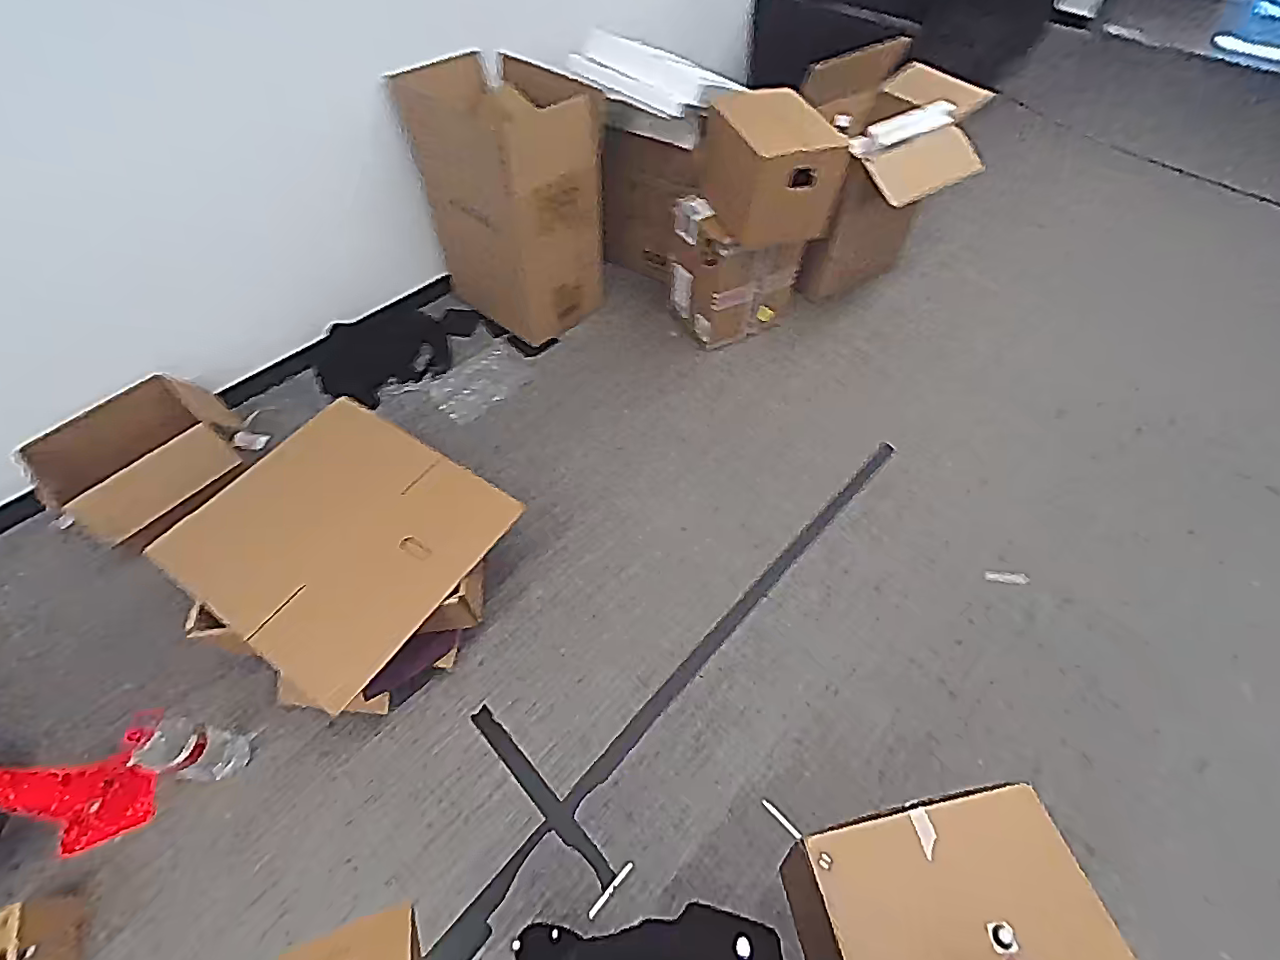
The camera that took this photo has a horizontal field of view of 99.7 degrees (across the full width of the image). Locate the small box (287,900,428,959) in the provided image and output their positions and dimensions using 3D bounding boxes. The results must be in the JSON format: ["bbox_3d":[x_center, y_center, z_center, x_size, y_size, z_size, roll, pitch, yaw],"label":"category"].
[{"bbox_3d":[-0.352,0.698,0.677,0.168,0.179,0.176,-8,94,-21],"label":"small box"}]
